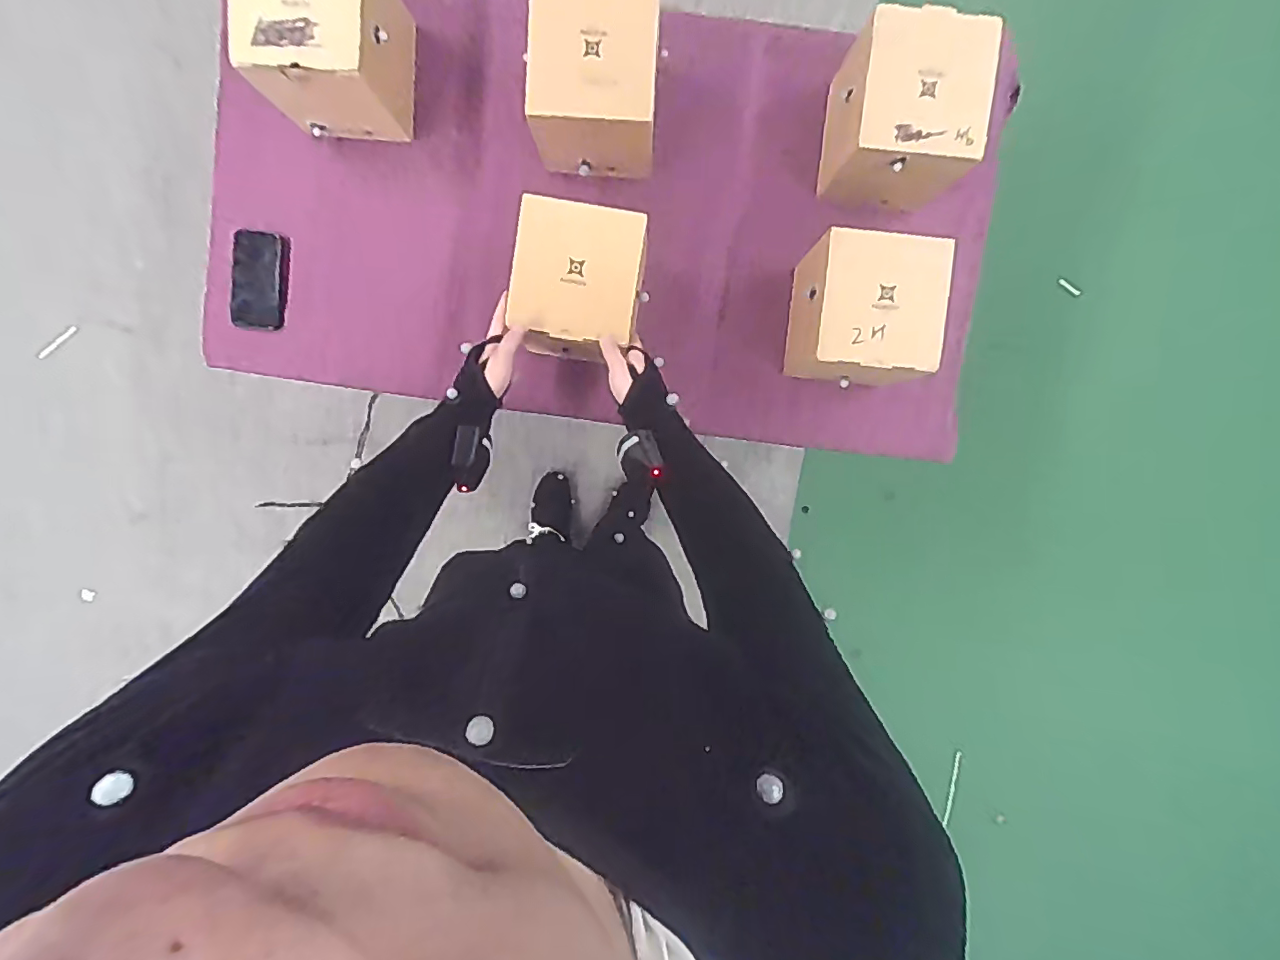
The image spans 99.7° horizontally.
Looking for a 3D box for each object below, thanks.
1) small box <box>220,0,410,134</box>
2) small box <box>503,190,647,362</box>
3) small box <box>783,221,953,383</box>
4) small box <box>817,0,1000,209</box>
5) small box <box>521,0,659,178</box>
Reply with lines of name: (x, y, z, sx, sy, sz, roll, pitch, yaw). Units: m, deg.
small box: (-0.431, -0.609, 0.742, 0.168, 0.176, 0.179, 3, 95, -2)
small box: (-0.088, -0.279, 0.778, 0.168, 0.176, 0.179, 9, 94, -2)
small box: (0.316, -0.245, 0.784, 0.168, 0.176, 0.179, 6, 94, 0)
small box: (0.363, -0.514, 0.764, 0.168, 0.176, 0.179, 5, 95, -1)
small box: (-0.064, -0.556, 0.755, 0.168, 0.176, 0.179, 4, 96, -1)
